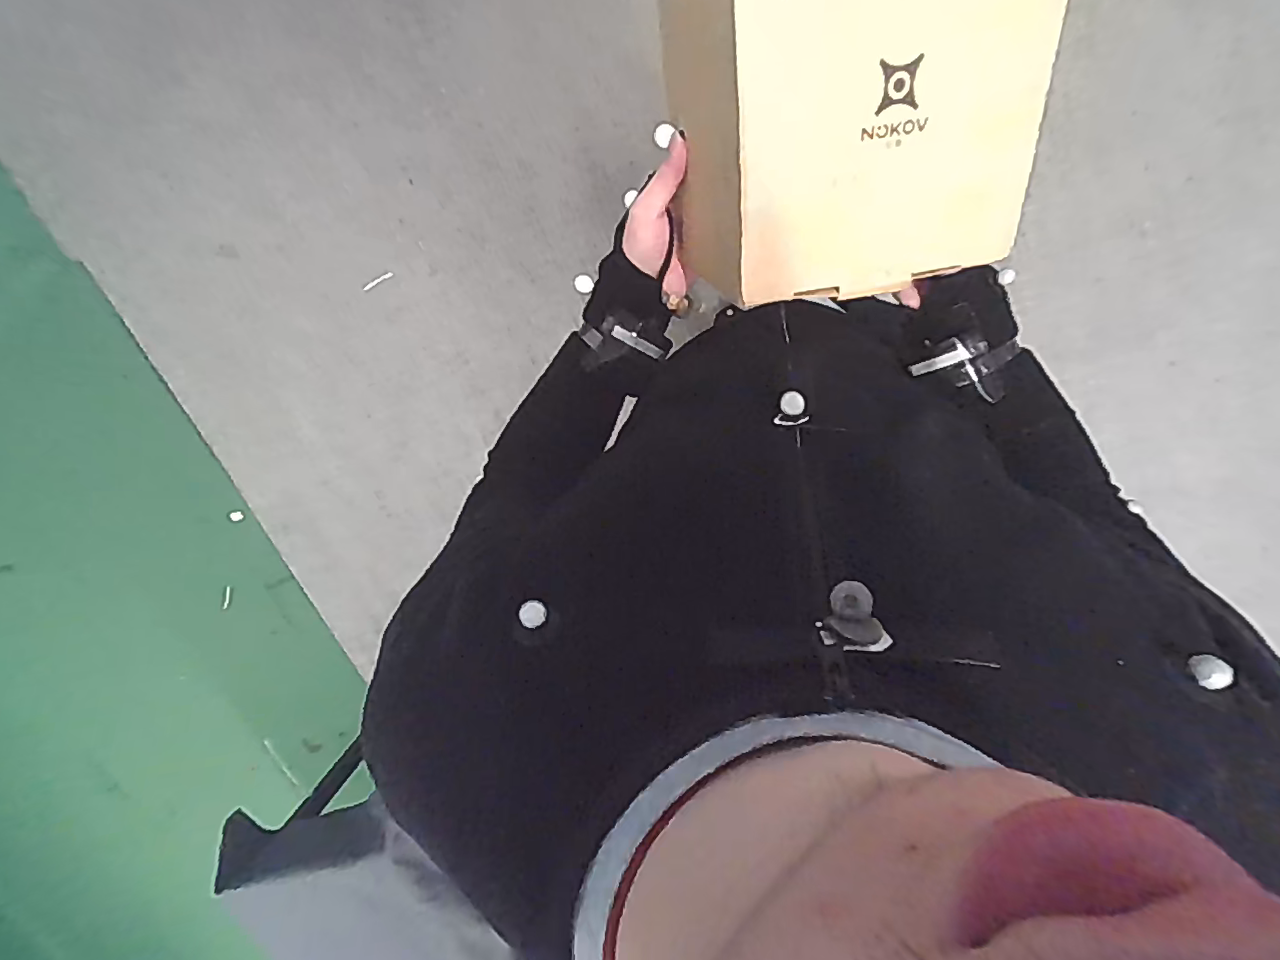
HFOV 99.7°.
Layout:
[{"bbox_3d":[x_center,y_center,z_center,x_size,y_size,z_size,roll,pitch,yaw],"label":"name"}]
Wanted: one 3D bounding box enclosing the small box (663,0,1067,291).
[{"bbox_3d":[0.114,-0.238,0.337,0.168,0.176,0.179,-11,125,-5],"label":"small box"}]
